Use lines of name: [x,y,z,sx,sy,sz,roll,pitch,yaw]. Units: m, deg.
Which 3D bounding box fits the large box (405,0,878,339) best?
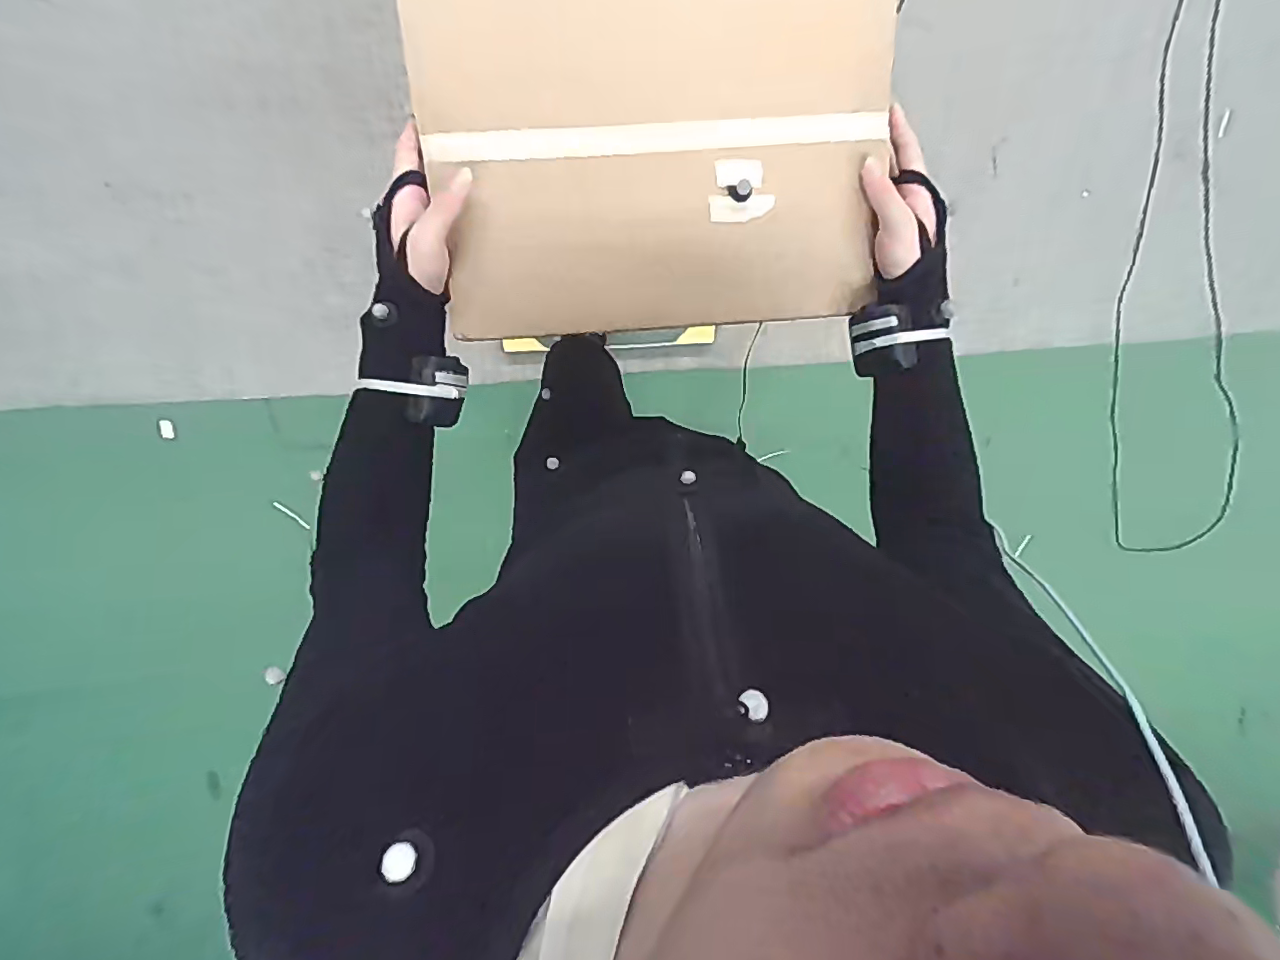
large box: [0.000,-0.339,0.621,0.408,0.320,0.320,-5,107,-5]
